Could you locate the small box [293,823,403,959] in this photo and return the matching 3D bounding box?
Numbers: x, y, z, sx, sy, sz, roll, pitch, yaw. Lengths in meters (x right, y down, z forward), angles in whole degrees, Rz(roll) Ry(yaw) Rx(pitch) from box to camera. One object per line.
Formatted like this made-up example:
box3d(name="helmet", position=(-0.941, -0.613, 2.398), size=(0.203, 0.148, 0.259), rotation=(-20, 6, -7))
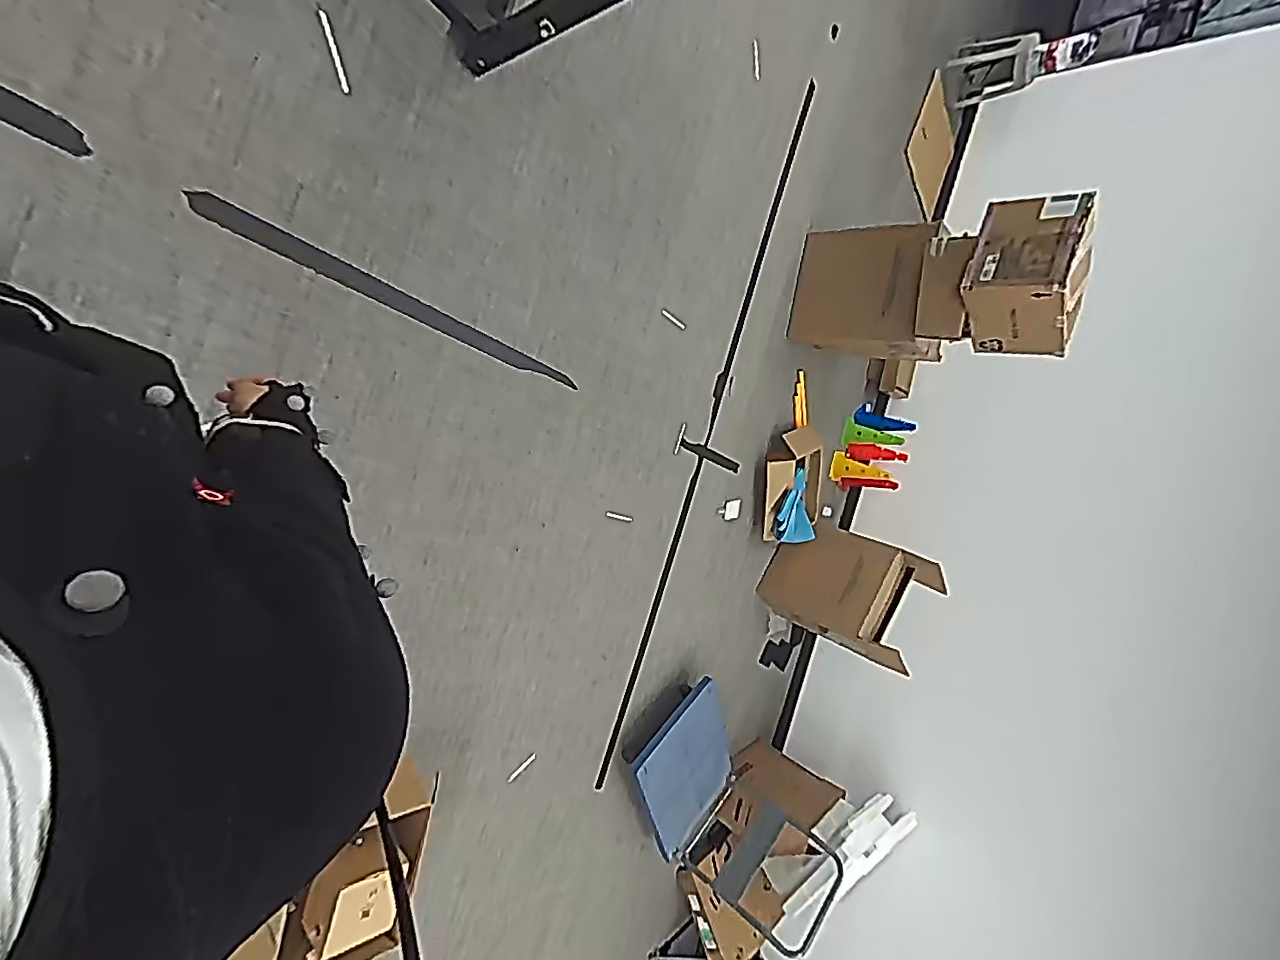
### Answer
box3d(name="small box", position=(-0.711, 0.982, 1.308), size=(0.168, 0.176, 0.179), rotation=(16, 90, -51))
